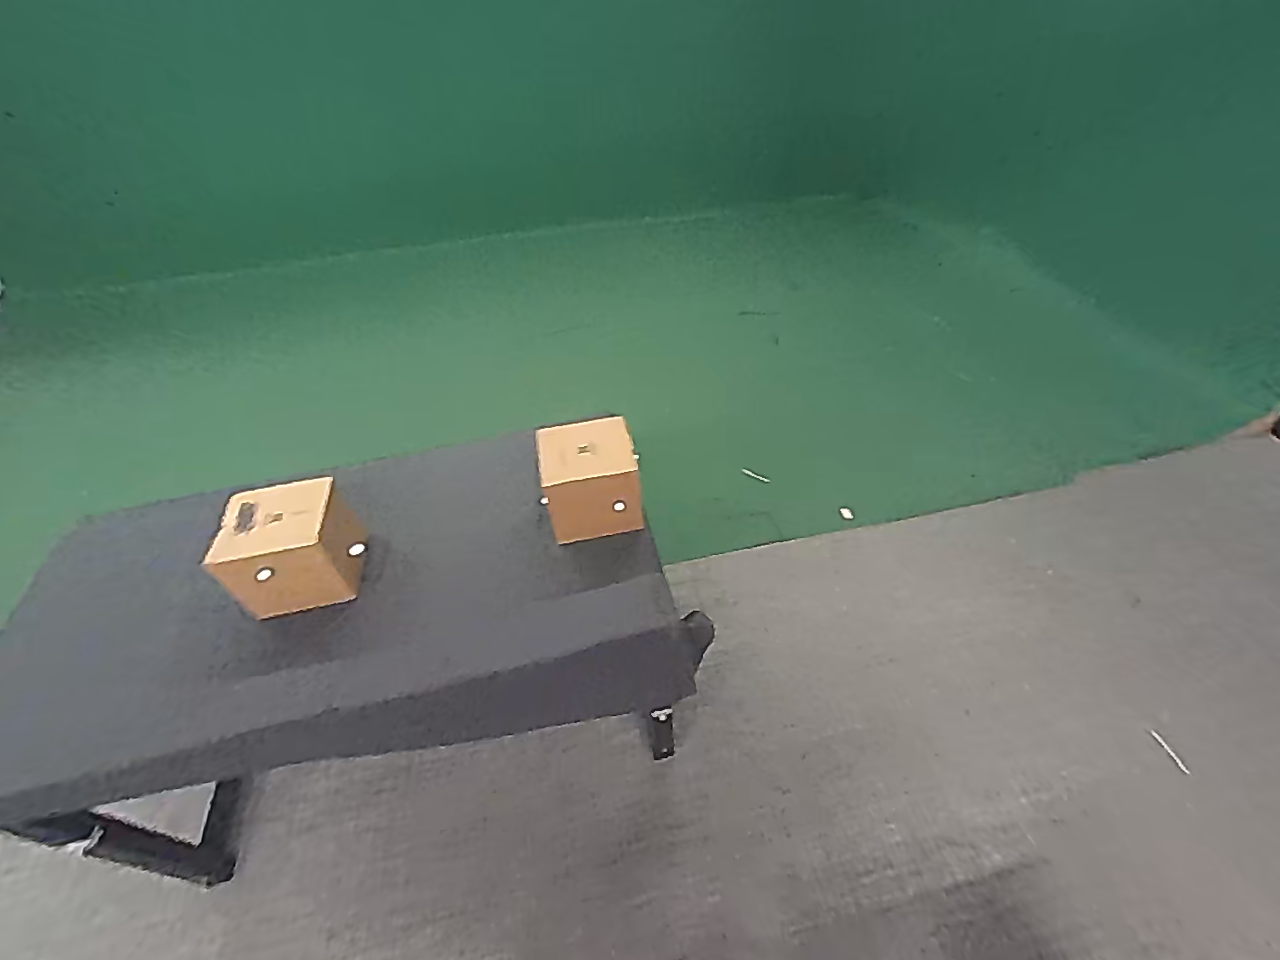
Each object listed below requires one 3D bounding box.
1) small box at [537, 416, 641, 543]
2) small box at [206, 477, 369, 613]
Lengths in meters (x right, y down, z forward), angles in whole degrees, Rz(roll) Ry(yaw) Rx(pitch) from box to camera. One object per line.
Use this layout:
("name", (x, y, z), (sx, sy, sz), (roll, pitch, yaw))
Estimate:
("small box", (-0.097, 0.000, 1.068), (0.179, 0.176, 0.168), (-11, 45, -5))
("small box", (-0.629, 0.123, 0.990), (0.179, 0.176, 0.168), (-11, 46, -7))
